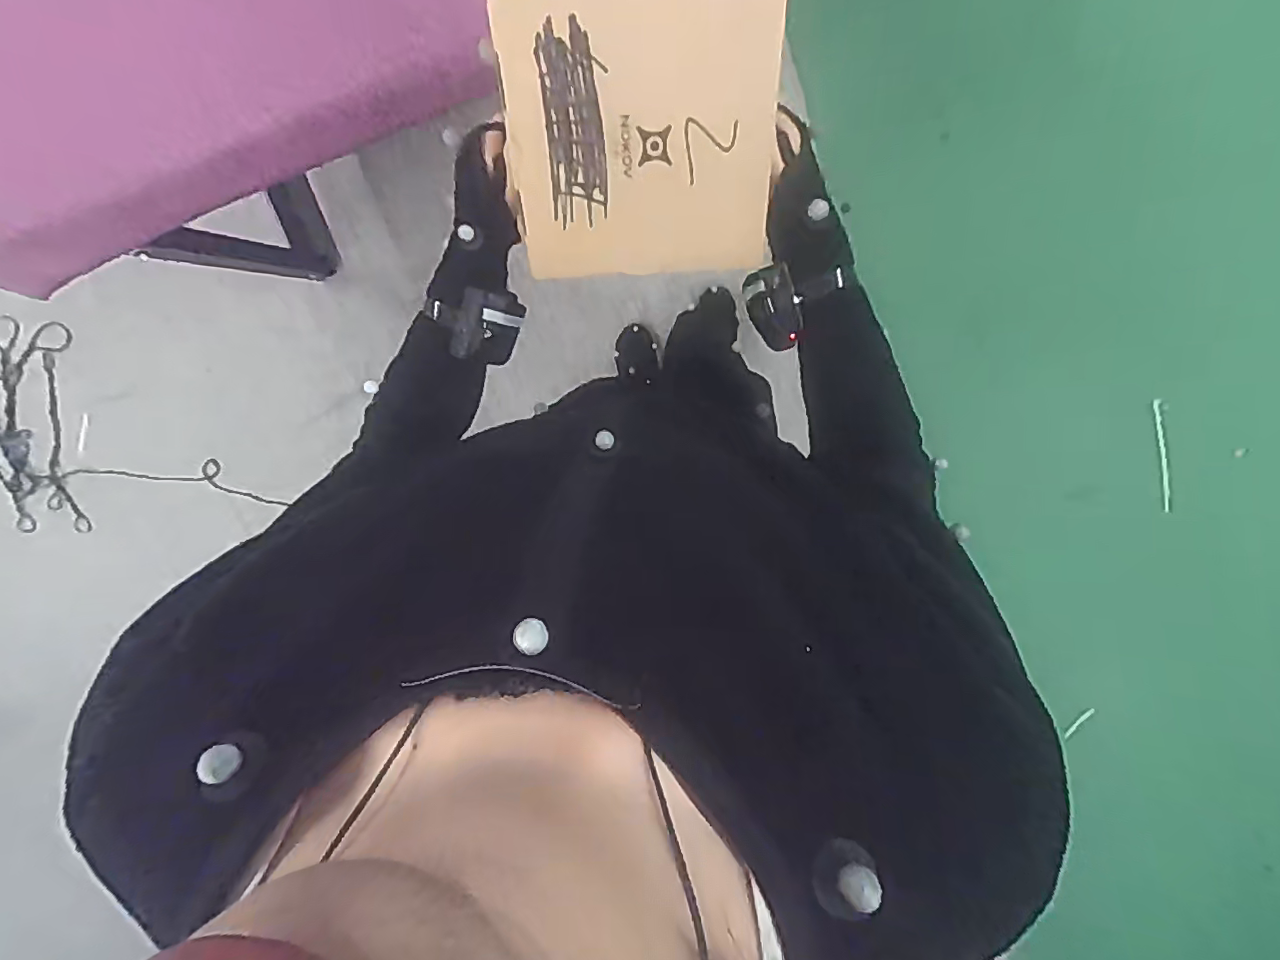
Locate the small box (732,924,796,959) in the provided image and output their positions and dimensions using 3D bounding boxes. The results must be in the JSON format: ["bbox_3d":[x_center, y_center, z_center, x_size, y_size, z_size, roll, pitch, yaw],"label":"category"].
[{"bbox_3d":[0.375,1.480,1.620,0.179,0.176,0.168,1,106,5],"label":"small box"}]

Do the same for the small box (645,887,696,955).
[{"bbox_3d":[0.104,1.523,1.818,0.168,0.176,0.179,1,105,4],"label":"small box"}]

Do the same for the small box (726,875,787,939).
[{"bbox_3d":[0.387,1.439,1.779,0.168,0.176,0.179,-16,104,9],"label":"small box"}]

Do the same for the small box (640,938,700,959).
[{"bbox_3d":[0.104,1.570,1.661,0.179,0.176,0.168,-35,101,11],"label":"small box"}]

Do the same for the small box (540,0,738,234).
[{"bbox_3d":[-0.007,-0.368,0.554,0.168,0.176,0.179,0,126,-4],"label":"small box"}]
